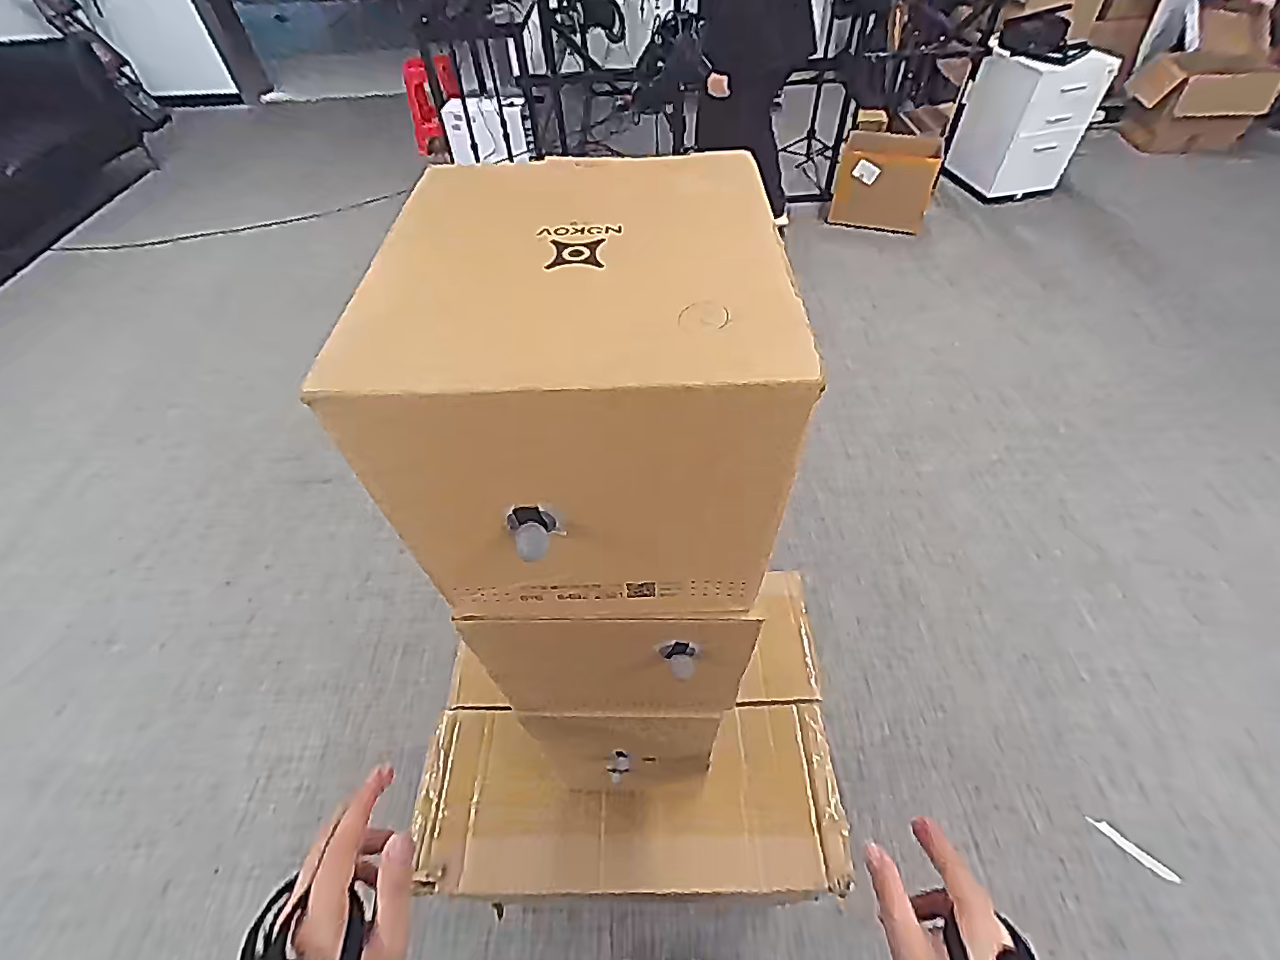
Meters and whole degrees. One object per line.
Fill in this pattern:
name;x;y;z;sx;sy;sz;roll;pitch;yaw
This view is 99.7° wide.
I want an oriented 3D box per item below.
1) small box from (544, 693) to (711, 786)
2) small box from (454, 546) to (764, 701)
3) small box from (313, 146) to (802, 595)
small box;-0.008;0.268;0.663;0.179;0.176;0.168;0;51;2
small box;-0.014;0.058;0.410;0.179;0.176;0.168;-1;51;2
small box;-0.024;-0.048;0.288;0.168;0.176;0.179;-2;51;1
